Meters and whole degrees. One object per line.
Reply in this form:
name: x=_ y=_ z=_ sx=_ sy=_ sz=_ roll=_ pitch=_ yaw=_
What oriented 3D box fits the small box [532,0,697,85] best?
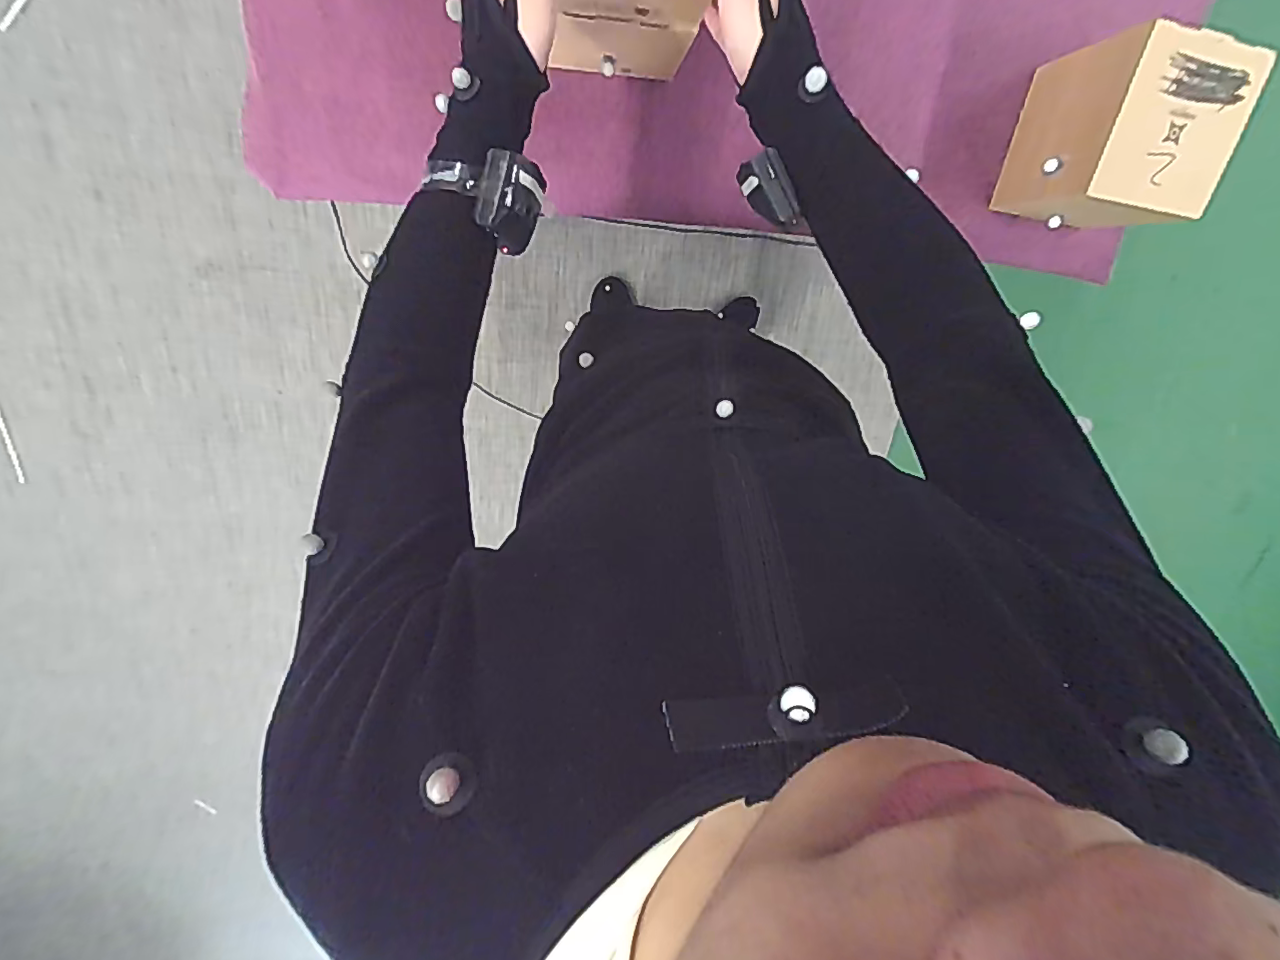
small box: x=-0.027 y=-0.556 z=0.574 sx=0.168 sy=0.176 sz=0.179 roll=2 pitch=112 yaw=-7

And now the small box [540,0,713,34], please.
small box: x=-0.008 y=-0.496 z=0.423 sx=0.168 sy=0.176 sz=0.179 roll=1 pitch=113 yaw=-7
